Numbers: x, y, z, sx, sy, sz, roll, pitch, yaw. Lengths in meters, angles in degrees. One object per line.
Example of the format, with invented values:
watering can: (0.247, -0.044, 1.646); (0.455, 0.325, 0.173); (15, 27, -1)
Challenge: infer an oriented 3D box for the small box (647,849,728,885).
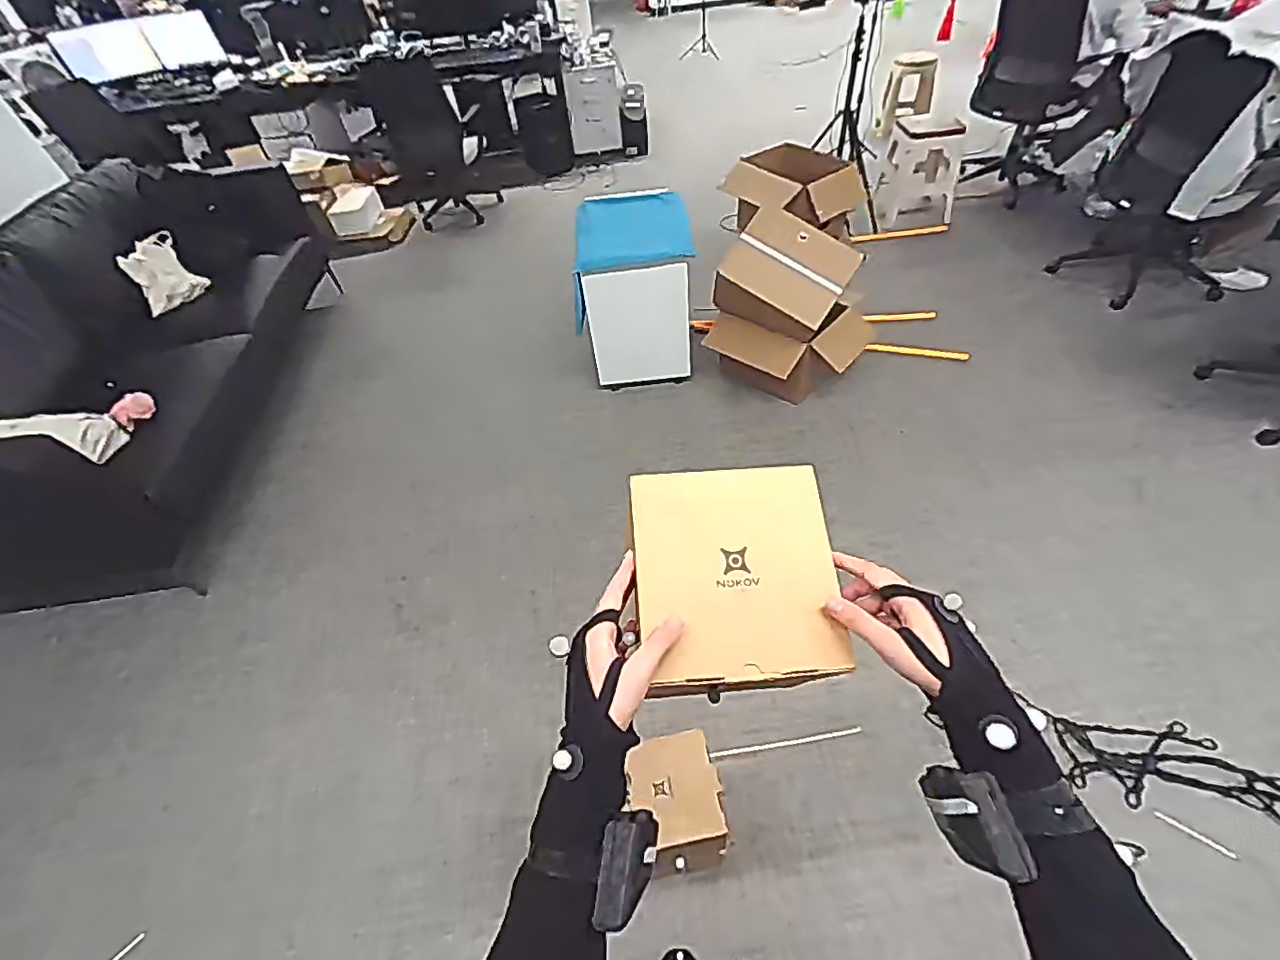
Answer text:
small box: (0.096, 0.785, 1.209); (0.179, 0.176, 0.168); (-10, 47, -1)

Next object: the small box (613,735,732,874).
small box: (0.055, 0.577, 0.959); (0.179, 0.176, 0.168); (-11, 47, -2)
